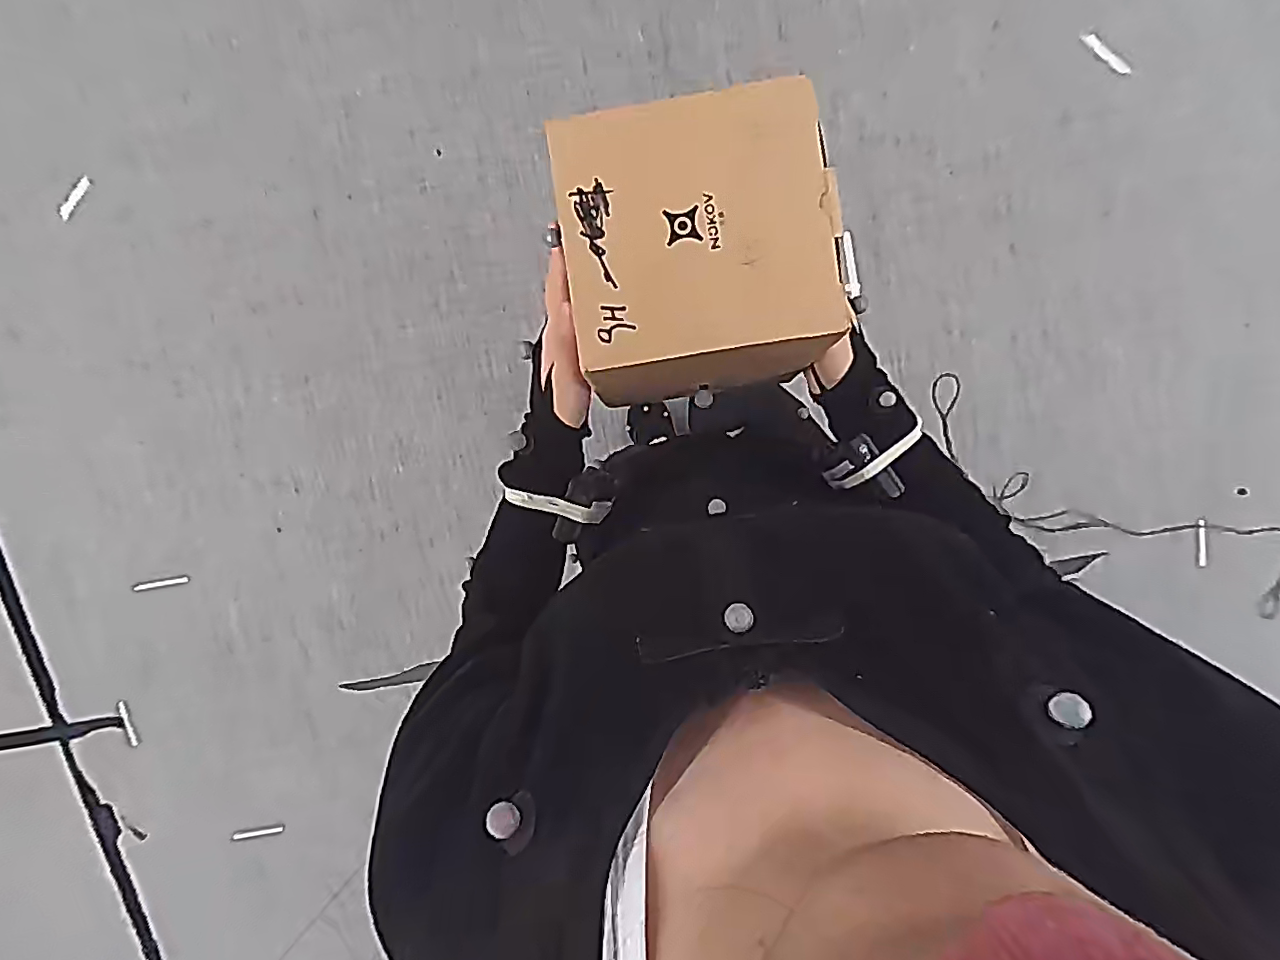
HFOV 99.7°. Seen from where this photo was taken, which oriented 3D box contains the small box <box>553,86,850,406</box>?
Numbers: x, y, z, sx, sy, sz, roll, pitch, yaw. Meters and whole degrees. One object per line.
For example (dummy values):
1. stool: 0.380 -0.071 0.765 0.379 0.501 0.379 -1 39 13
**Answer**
1. small box: 0.040 -0.160 0.426 0.179 0.176 0.168 -8 89 1
